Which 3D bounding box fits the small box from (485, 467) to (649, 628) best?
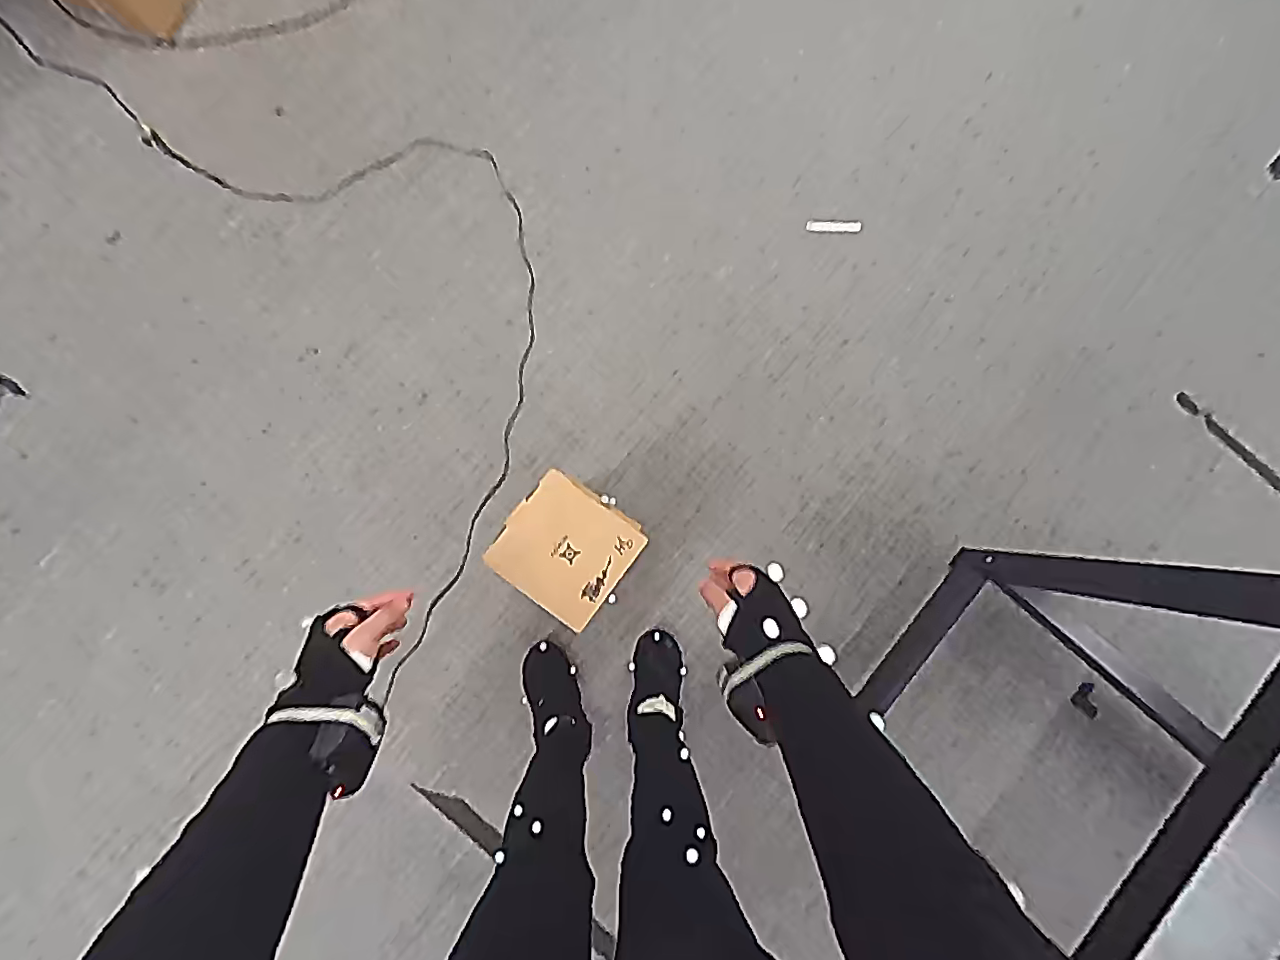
[{"bbox_3d":[-0.107,0.103,0.843,0.179,0.176,0.168,37,85,0],"label":"small box"}]
